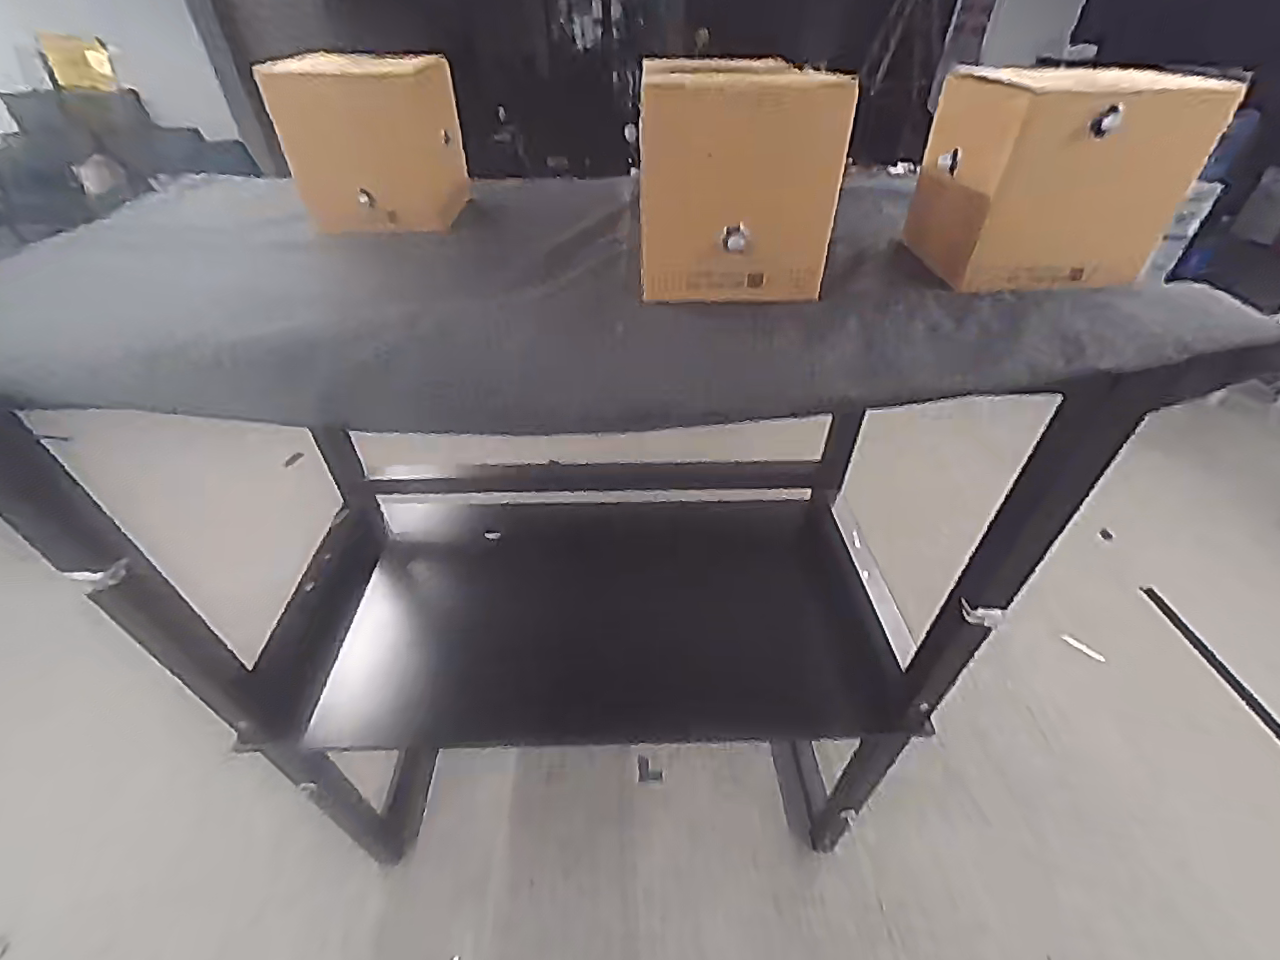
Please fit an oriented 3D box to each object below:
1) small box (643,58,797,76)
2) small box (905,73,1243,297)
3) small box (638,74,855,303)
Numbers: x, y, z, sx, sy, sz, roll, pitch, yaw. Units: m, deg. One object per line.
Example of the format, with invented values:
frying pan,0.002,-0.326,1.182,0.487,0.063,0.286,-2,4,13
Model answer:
small box,0.090,-0.444,0.714,0.179,0.176,0.168,0,40,0
small box,0.390,-0.295,0.536,0.168,0.176,0.179,1,40,2
small box,0.082,-0.283,0.521,0.168,0.176,0.179,0,39,1
